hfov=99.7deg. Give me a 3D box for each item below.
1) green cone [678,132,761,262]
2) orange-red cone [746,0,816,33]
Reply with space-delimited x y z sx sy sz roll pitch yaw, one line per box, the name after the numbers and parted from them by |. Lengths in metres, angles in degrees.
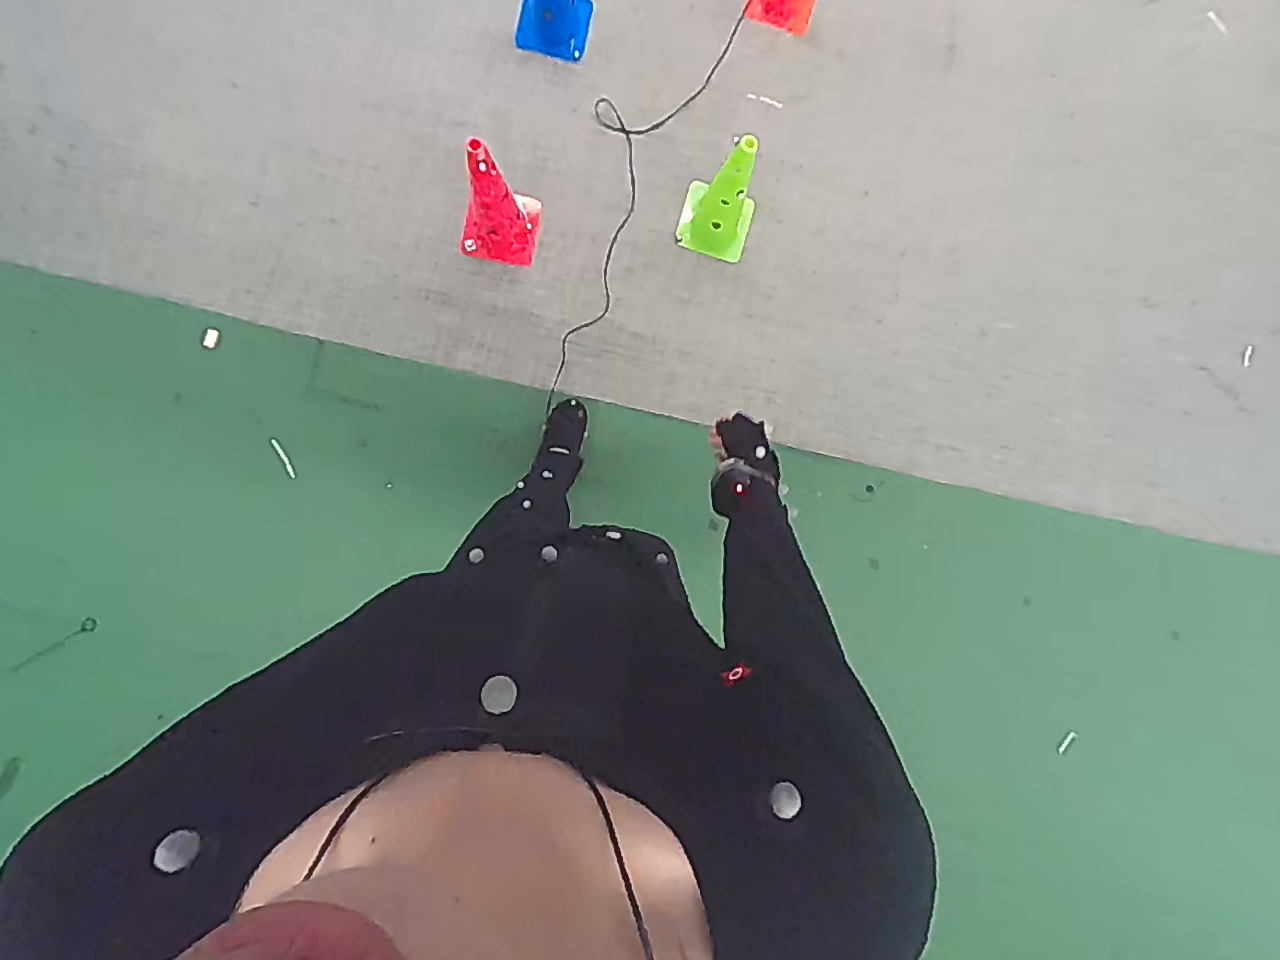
0.241 -0.754 1.399 0.200 0.368 0.202 15 86 -4 | green cone
0.440 -1.456 1.447 0.198 0.360 0.199 17 88 -3 | orange-red cone
